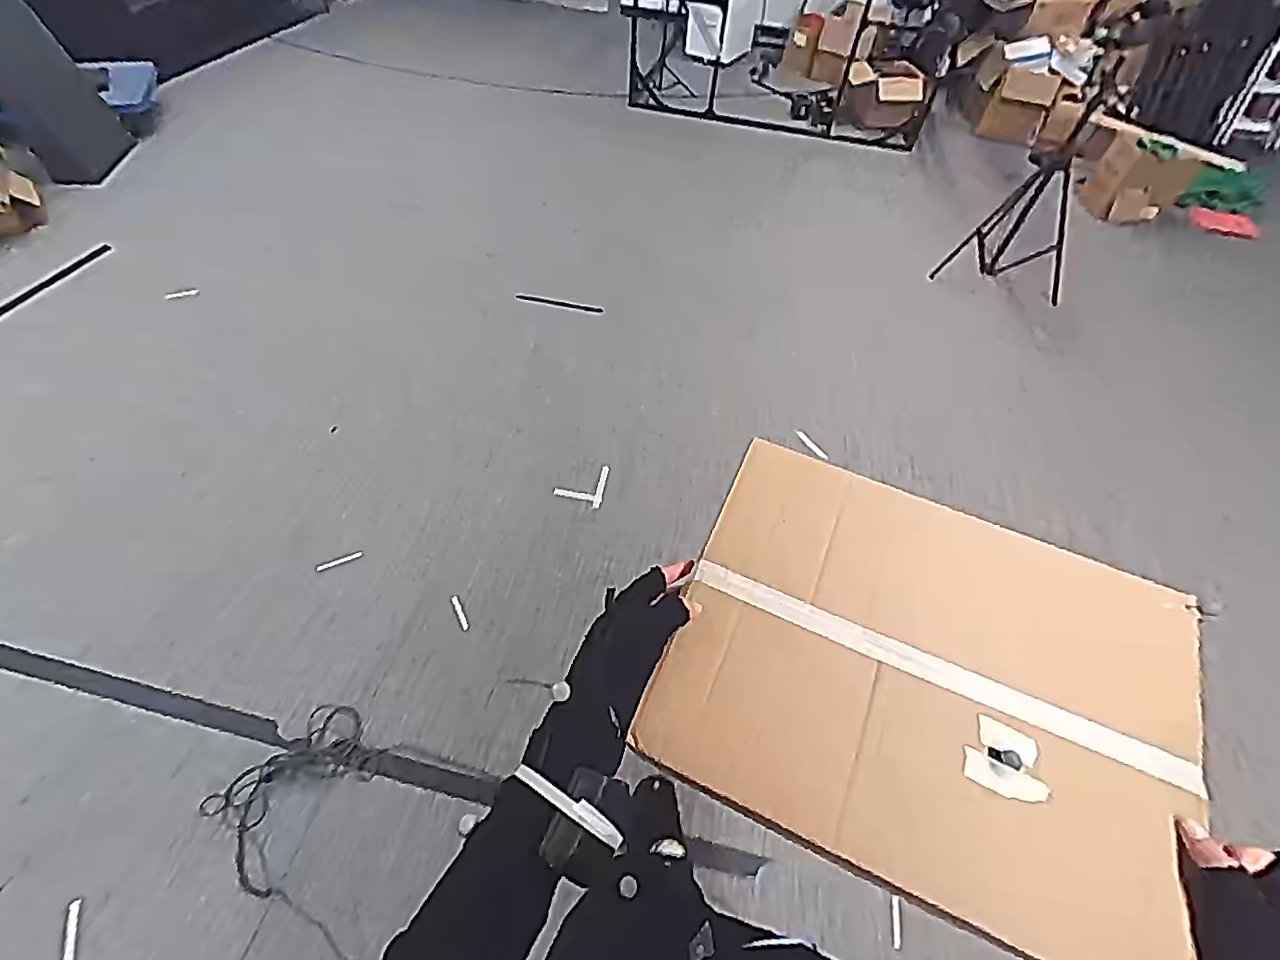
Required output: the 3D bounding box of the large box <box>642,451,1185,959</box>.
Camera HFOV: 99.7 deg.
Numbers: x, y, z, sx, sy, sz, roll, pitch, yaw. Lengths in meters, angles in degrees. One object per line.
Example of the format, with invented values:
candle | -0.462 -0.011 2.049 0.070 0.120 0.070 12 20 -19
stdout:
large box | 0.241 0.229 0.592 0.408 0.320 0.320 22 65 12
